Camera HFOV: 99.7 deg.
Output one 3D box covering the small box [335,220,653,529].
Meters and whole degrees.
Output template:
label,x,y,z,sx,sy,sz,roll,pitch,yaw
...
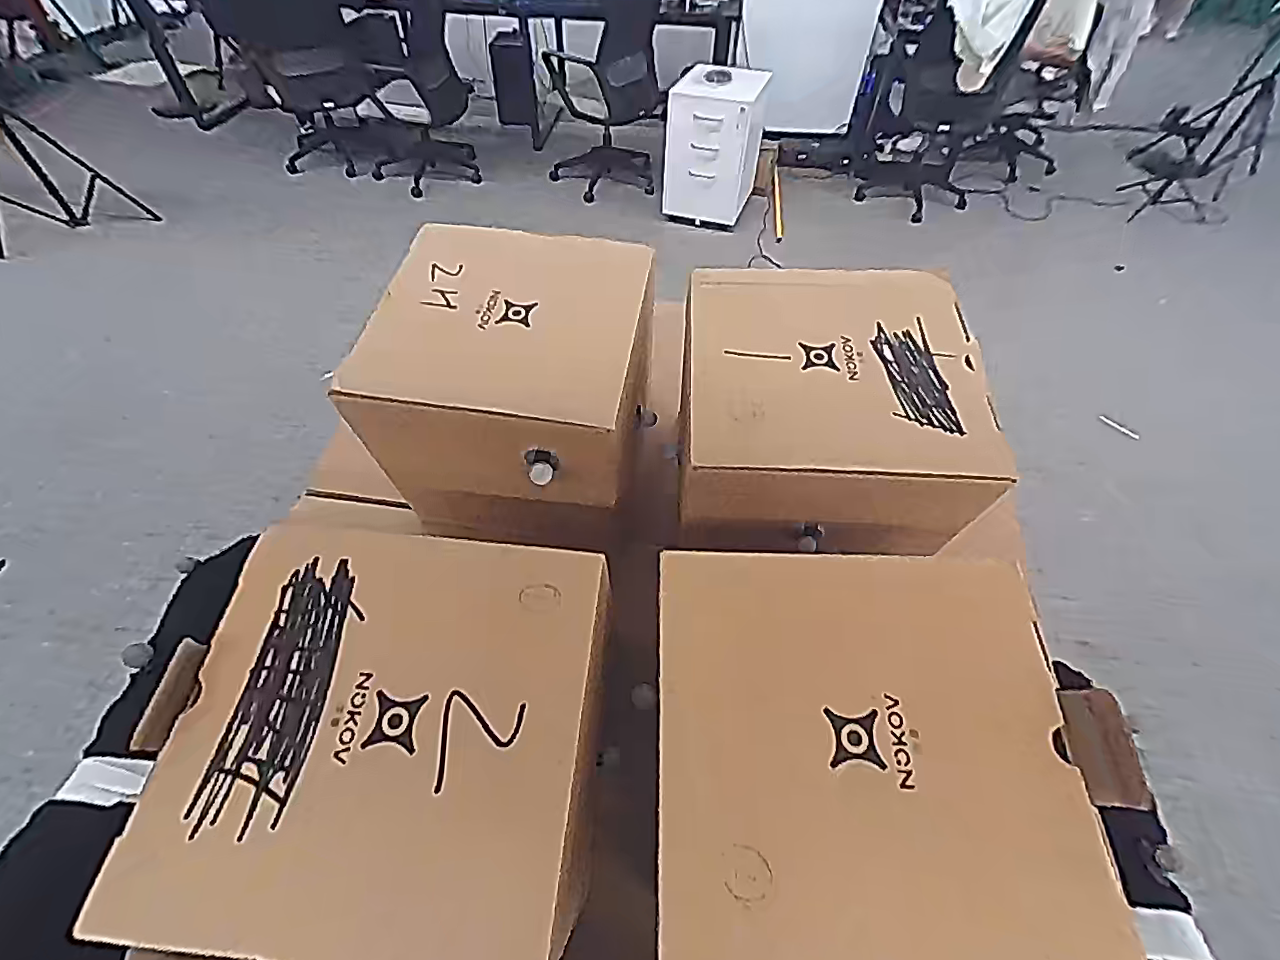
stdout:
label,x,y,z,sx,sy,sz,roll,pitch,yaw
small box,-0.090,-0.075,0.434,0.179,0.176,0.168,9,59,5
